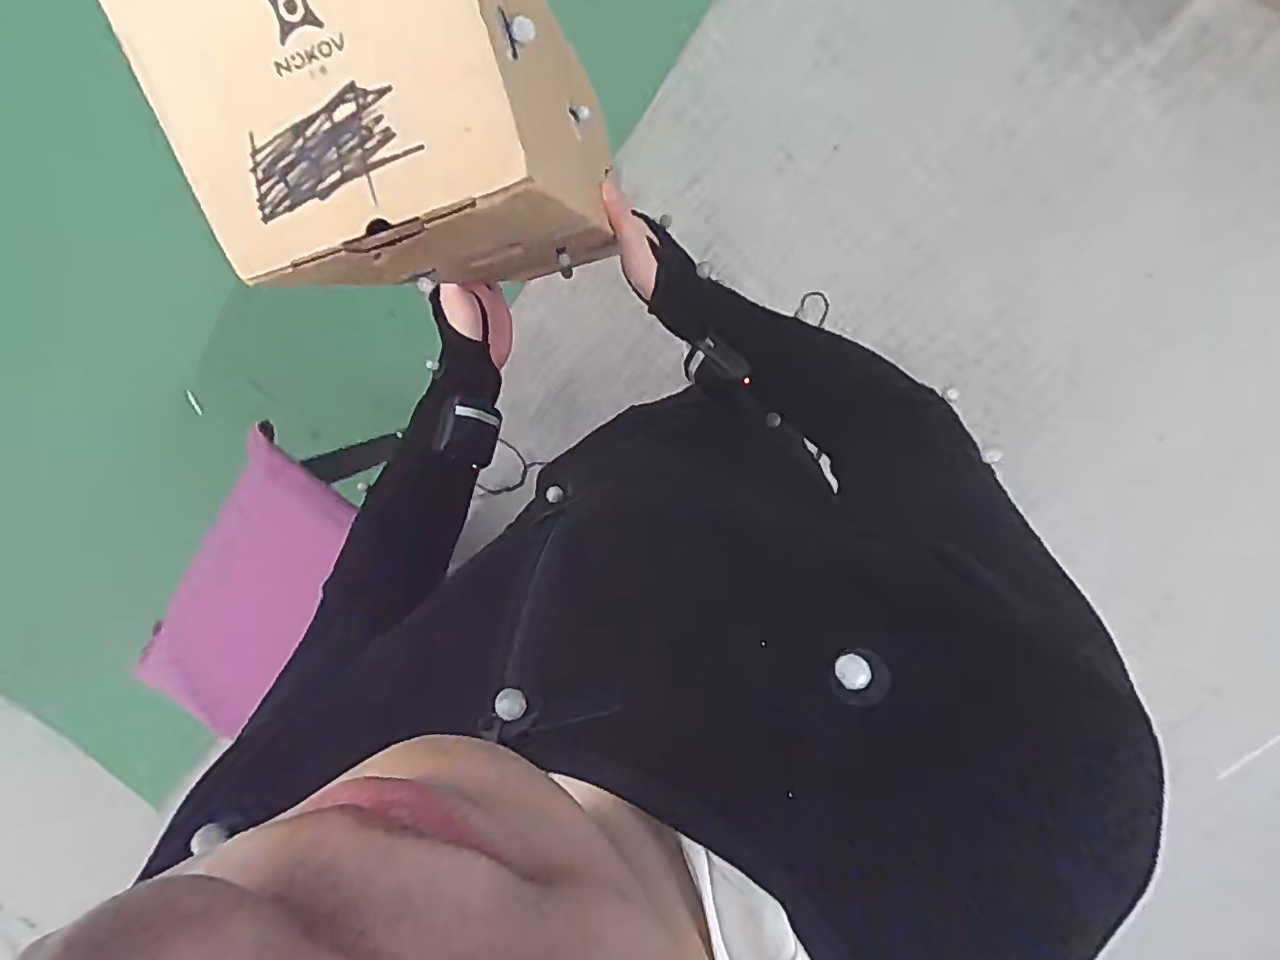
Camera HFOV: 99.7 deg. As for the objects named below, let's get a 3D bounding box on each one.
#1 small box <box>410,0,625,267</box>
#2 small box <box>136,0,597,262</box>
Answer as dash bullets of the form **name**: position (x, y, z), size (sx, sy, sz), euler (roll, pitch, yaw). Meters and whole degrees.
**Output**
- **small box**: position (-0.116, -0.292, 0.464), size (0.168, 0.176, 0.179), euler (-11, 109, 9)
- **small box**: position (-0.132, -0.236, 0.311), size (0.168, 0.176, 0.179), euler (-13, 108, 10)
